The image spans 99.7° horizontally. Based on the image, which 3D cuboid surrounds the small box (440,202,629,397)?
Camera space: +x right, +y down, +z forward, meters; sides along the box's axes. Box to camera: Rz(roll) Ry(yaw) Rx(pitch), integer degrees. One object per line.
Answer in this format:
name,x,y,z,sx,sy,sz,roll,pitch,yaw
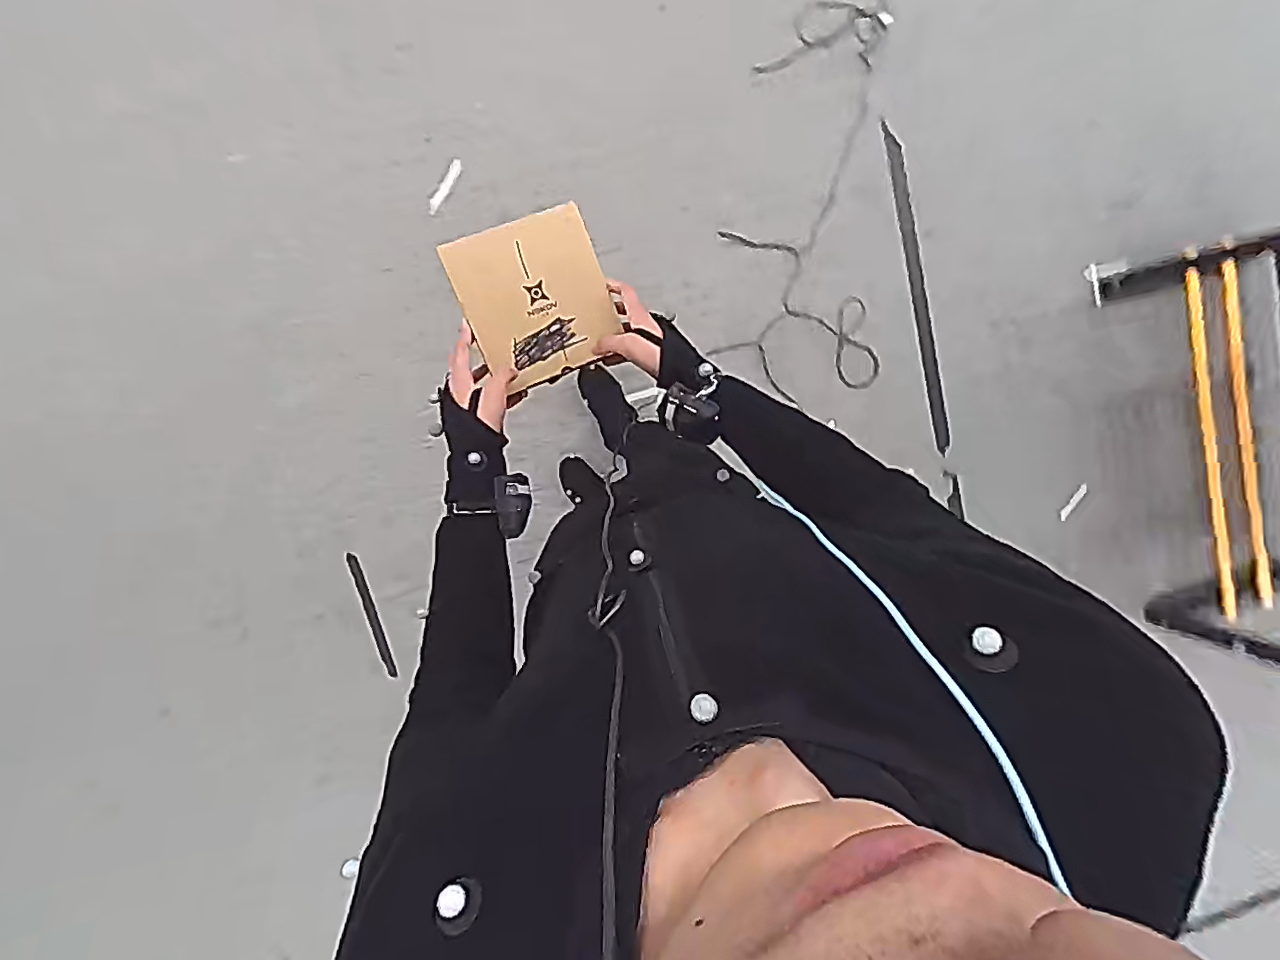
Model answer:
small box,-0.133,-0.217,0.686,0.168,0.176,0.179,-23,105,-10
